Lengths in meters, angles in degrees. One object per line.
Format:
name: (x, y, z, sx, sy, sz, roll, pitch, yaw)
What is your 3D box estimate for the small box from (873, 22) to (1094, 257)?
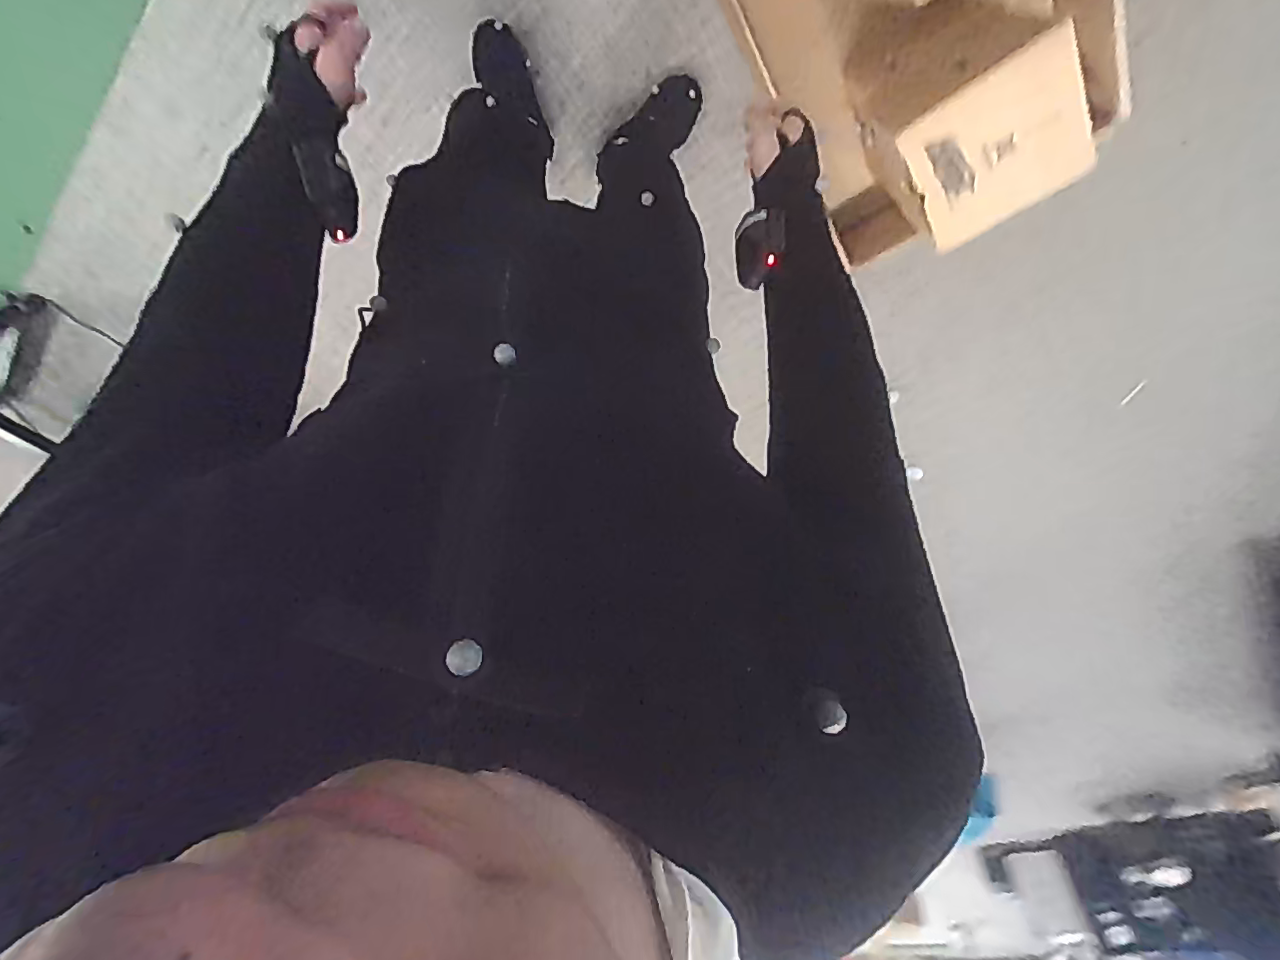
small box: (0.411, -0.421, 0.674, 0.179, 0.176, 0.168, -26, 126, 26)

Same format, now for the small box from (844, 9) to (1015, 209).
small box: (0.422, -0.540, 0.788, 0.179, 0.176, 0.168, -22, 128, 24)
